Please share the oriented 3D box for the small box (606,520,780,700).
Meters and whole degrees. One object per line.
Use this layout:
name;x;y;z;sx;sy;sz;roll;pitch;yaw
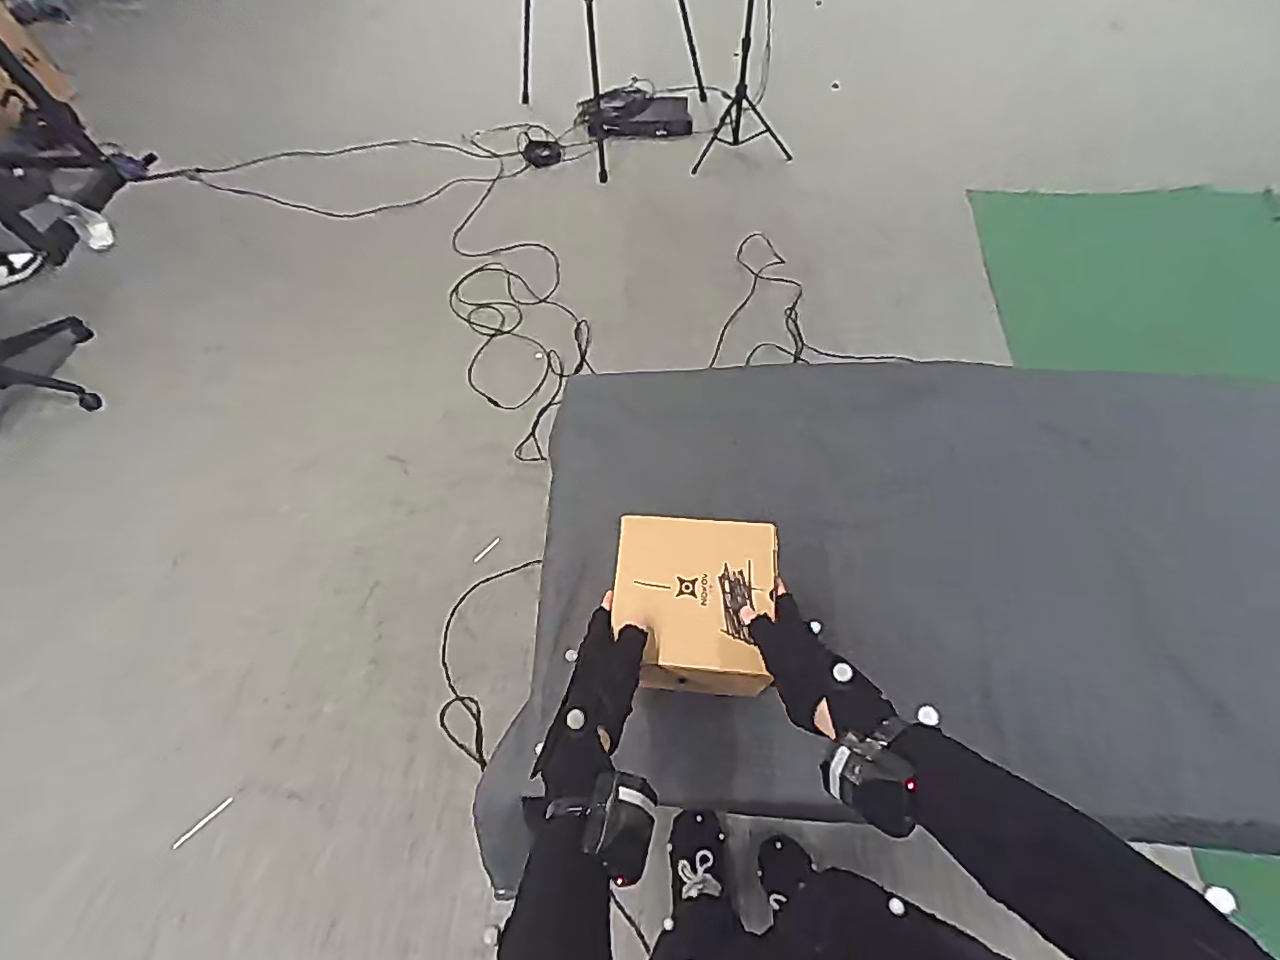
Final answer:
small box;0.063;0.161;0.647;0.179;0.176;0.168;3;61;5
